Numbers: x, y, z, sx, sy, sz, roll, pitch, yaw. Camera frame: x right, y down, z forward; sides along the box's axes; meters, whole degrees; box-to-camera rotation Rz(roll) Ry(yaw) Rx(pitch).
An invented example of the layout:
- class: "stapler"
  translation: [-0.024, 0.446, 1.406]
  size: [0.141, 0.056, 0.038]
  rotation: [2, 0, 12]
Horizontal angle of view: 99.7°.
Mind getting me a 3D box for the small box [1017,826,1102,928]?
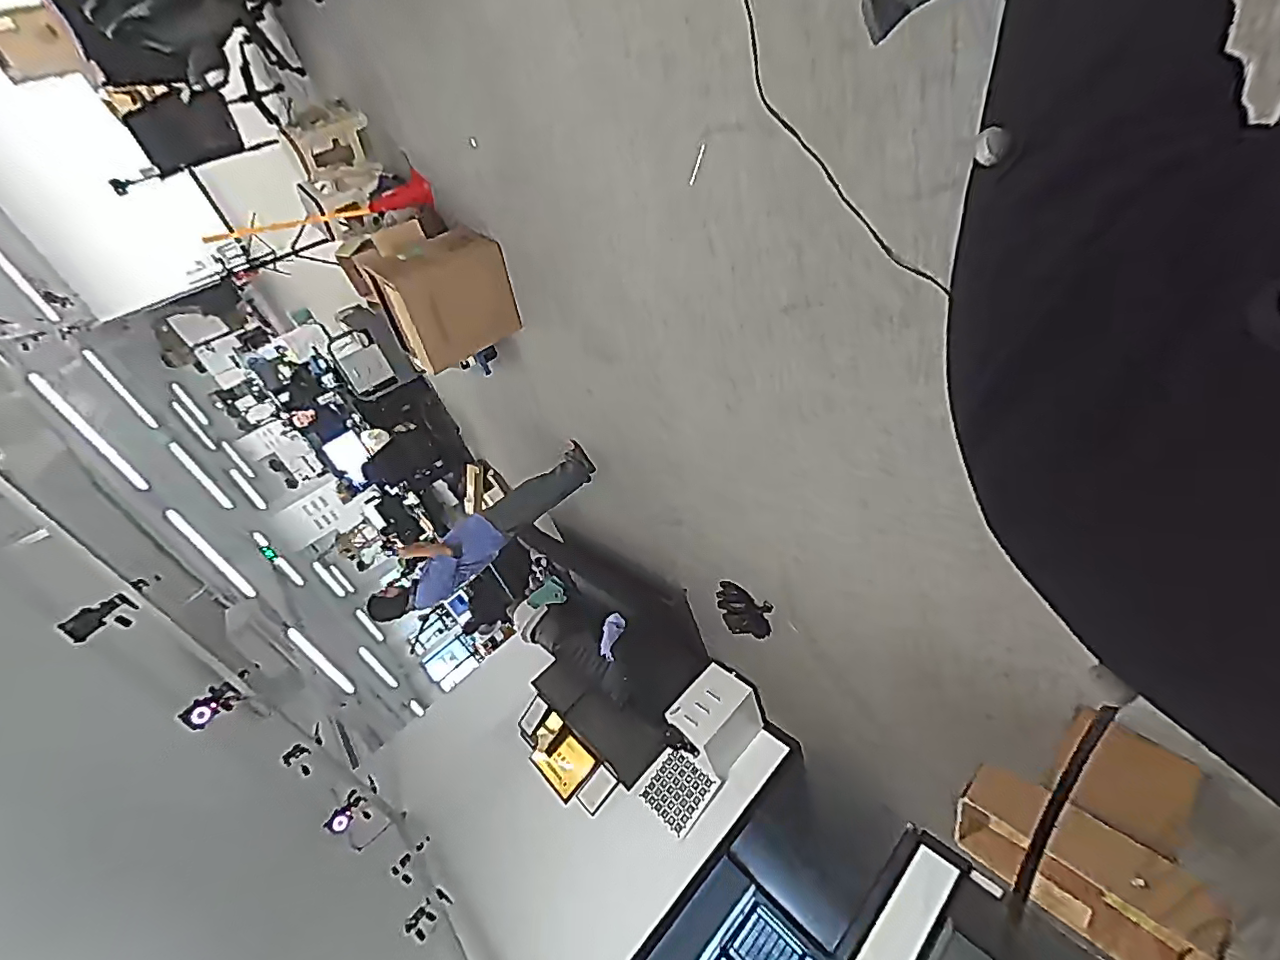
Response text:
- class: "small box"
  translation: [1.317, 1.239, 1.698]
  size: [0.168, 0.176, 0.179]
  rotation: [22, 144, 48]
